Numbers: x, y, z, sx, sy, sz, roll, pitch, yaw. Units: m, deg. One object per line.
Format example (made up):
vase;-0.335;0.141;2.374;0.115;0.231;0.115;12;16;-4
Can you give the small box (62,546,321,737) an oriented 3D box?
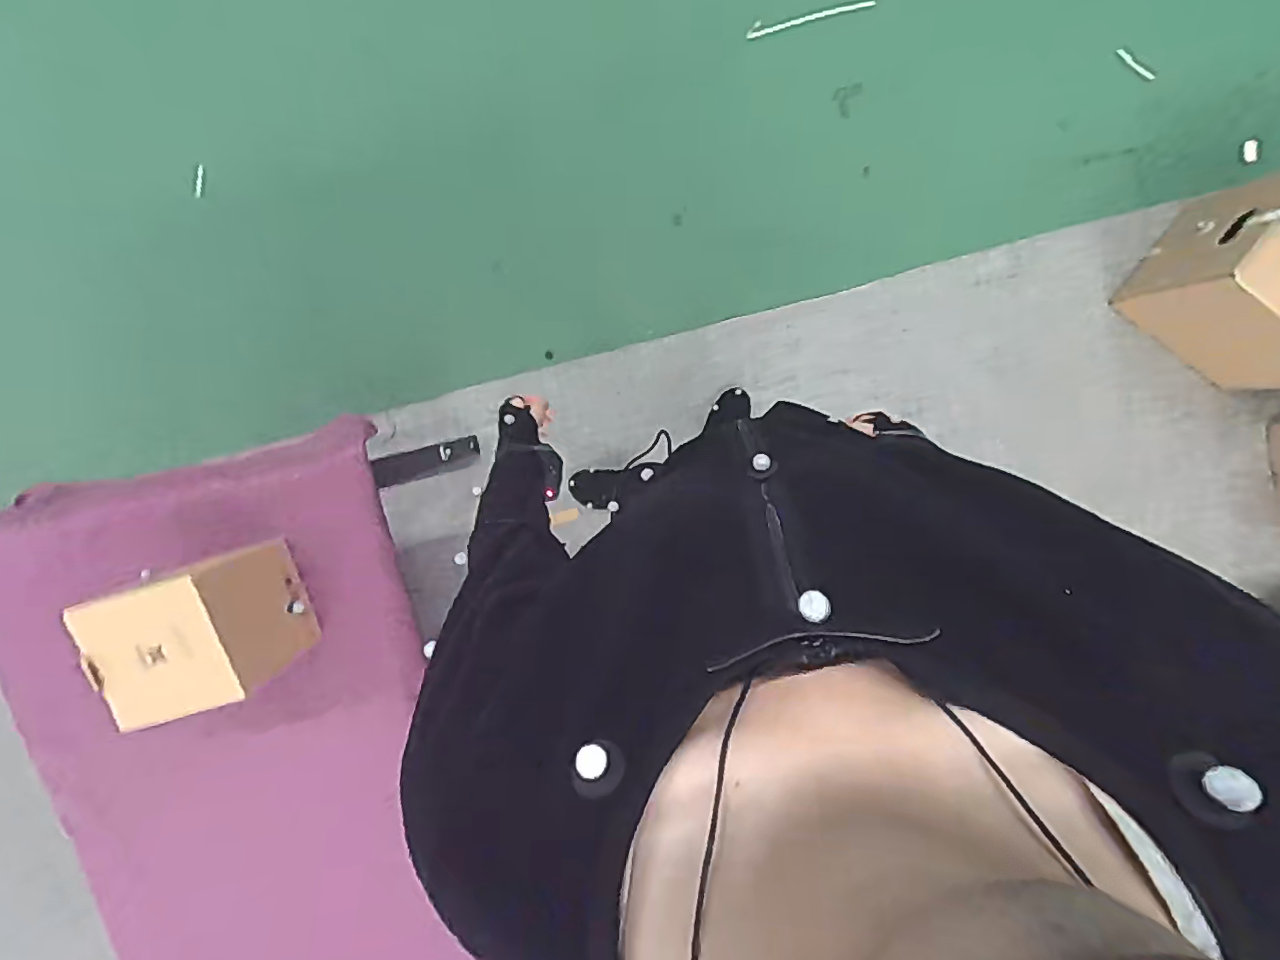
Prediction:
small box;-0.580;0.204;0.724;0.179;0.176;0.168;-16;99;5
